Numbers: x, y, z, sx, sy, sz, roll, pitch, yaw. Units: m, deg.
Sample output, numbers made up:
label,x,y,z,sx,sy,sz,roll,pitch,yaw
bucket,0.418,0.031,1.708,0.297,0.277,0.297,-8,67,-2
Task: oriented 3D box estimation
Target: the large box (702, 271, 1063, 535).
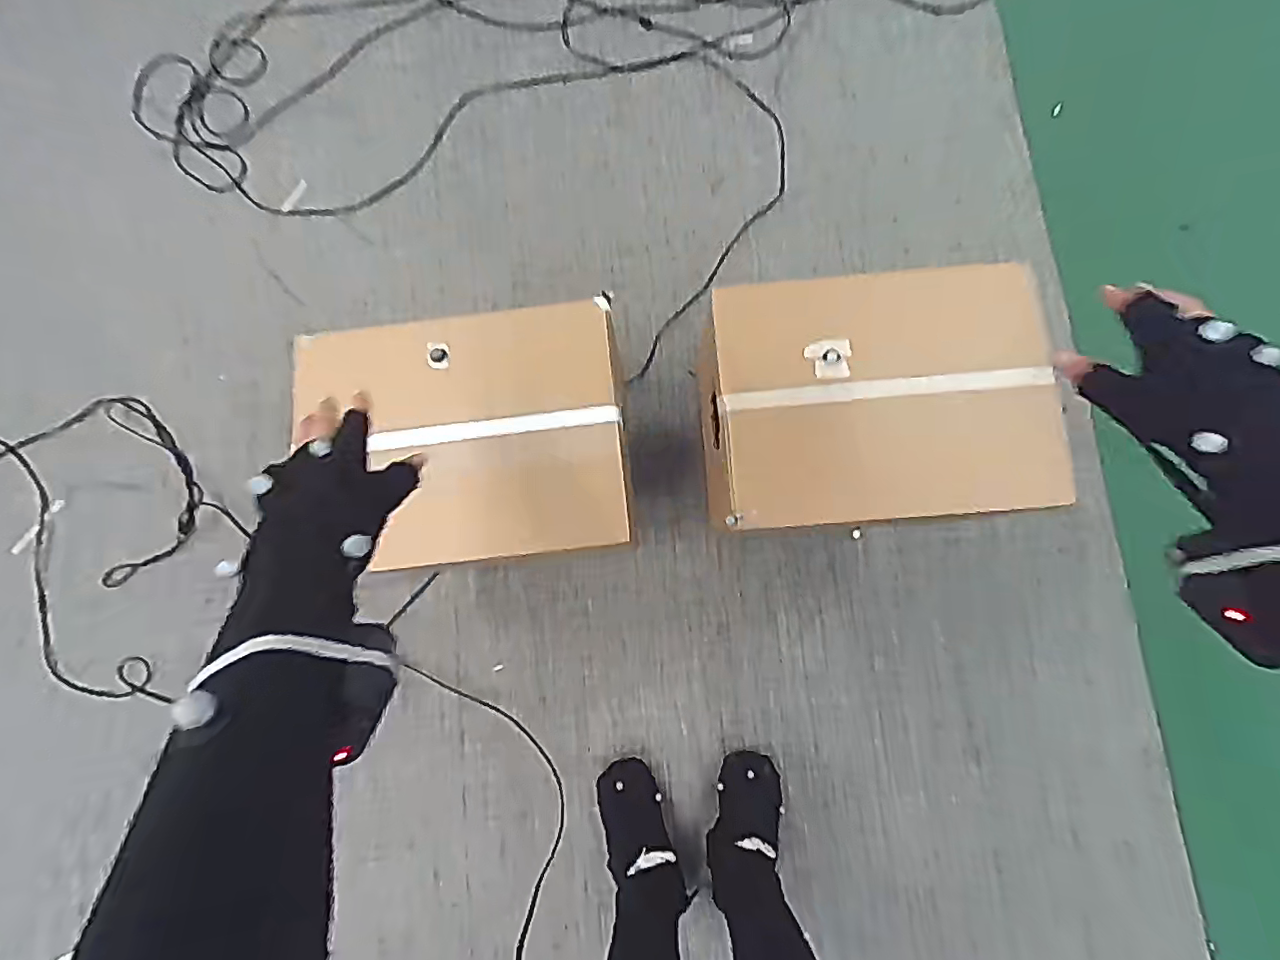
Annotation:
label,x,y,z,sx,sy,sz,roll,pitch,yaw
large box,0.316,-0.085,0.830,0.408,0.320,0.320,-4,82,2
